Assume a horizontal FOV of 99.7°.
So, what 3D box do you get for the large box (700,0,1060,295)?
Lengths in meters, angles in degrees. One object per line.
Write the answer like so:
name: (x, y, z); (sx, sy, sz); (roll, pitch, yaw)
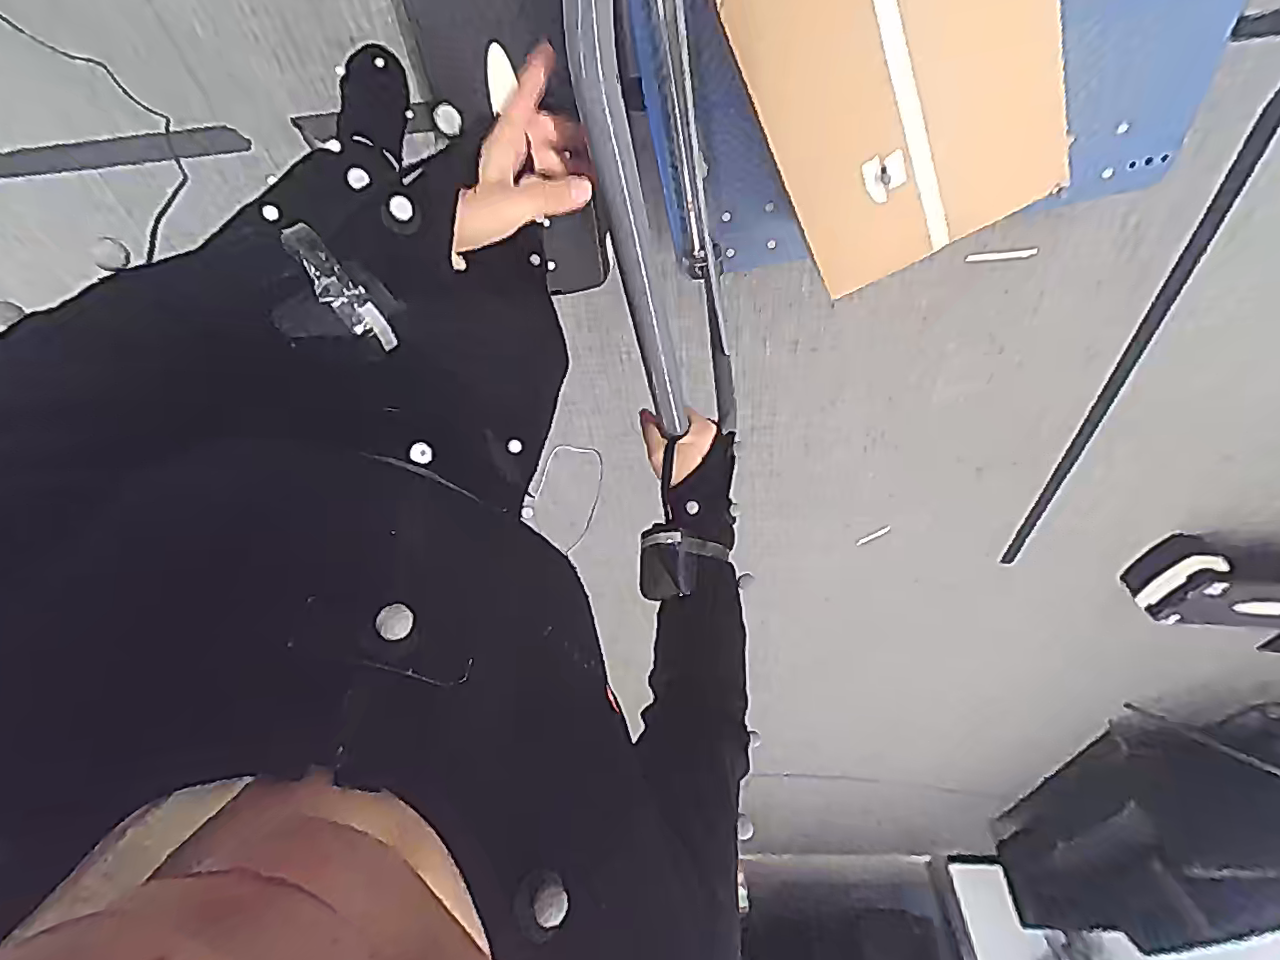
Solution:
large box: (0.314, -0.556, 0.747); (0.320, 0.320, 0.408); (-22, 131, 23)
